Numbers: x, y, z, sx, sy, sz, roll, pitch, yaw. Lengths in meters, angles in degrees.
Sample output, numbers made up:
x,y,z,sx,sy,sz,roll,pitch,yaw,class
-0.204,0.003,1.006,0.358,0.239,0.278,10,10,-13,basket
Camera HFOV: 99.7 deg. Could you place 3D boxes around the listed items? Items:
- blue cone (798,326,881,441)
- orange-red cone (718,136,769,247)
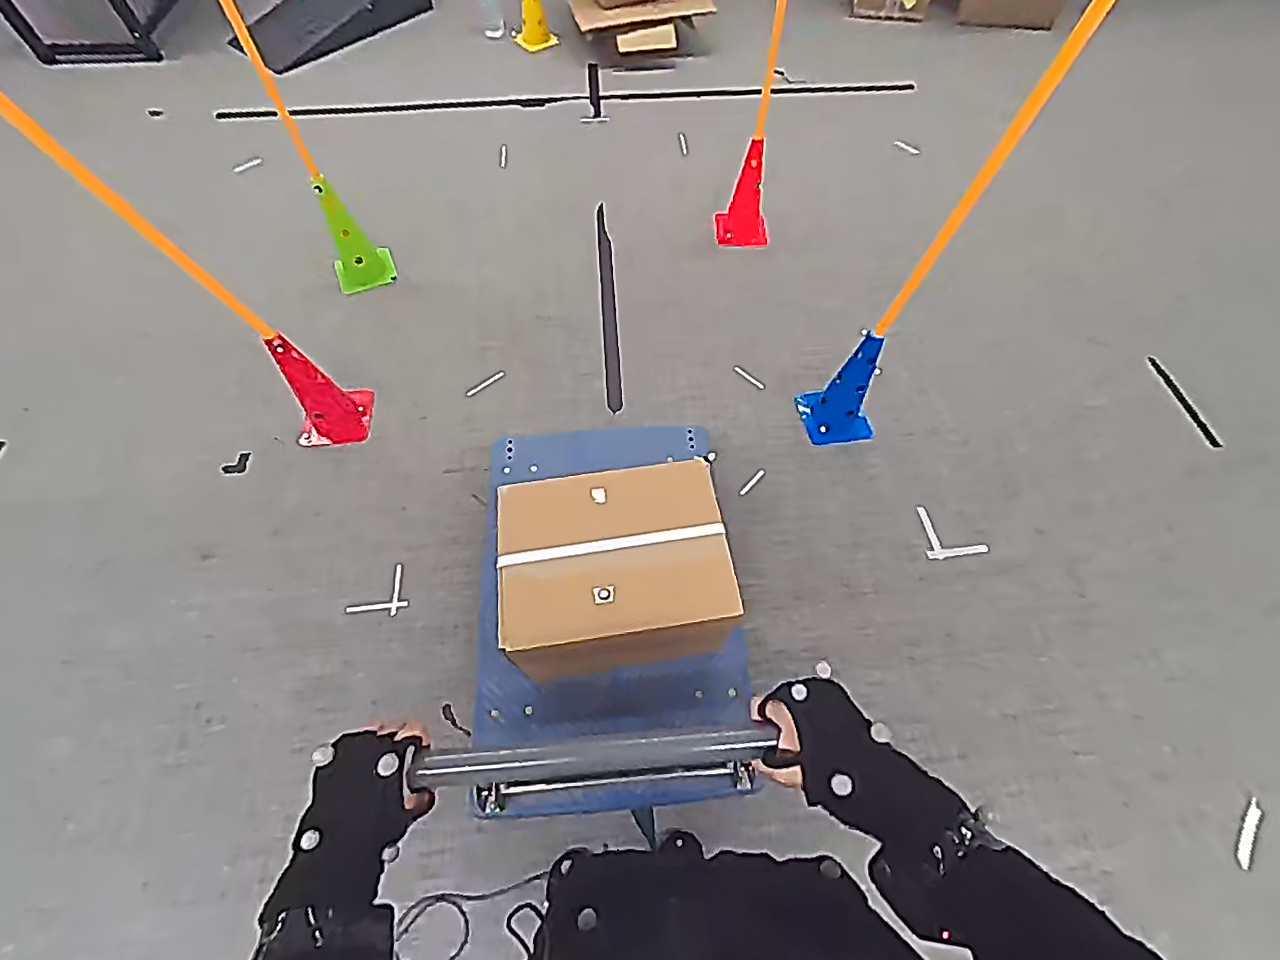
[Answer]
x,y,z,sx,sy,sz,roll,pitch,yaw,class
0.615,-0.289,1.567,0.193,0.380,0.192,-7,60,-5,blue cone
0.410,-1.071,1.986,0.199,0.360,0.198,2,61,-1,orange-red cone
